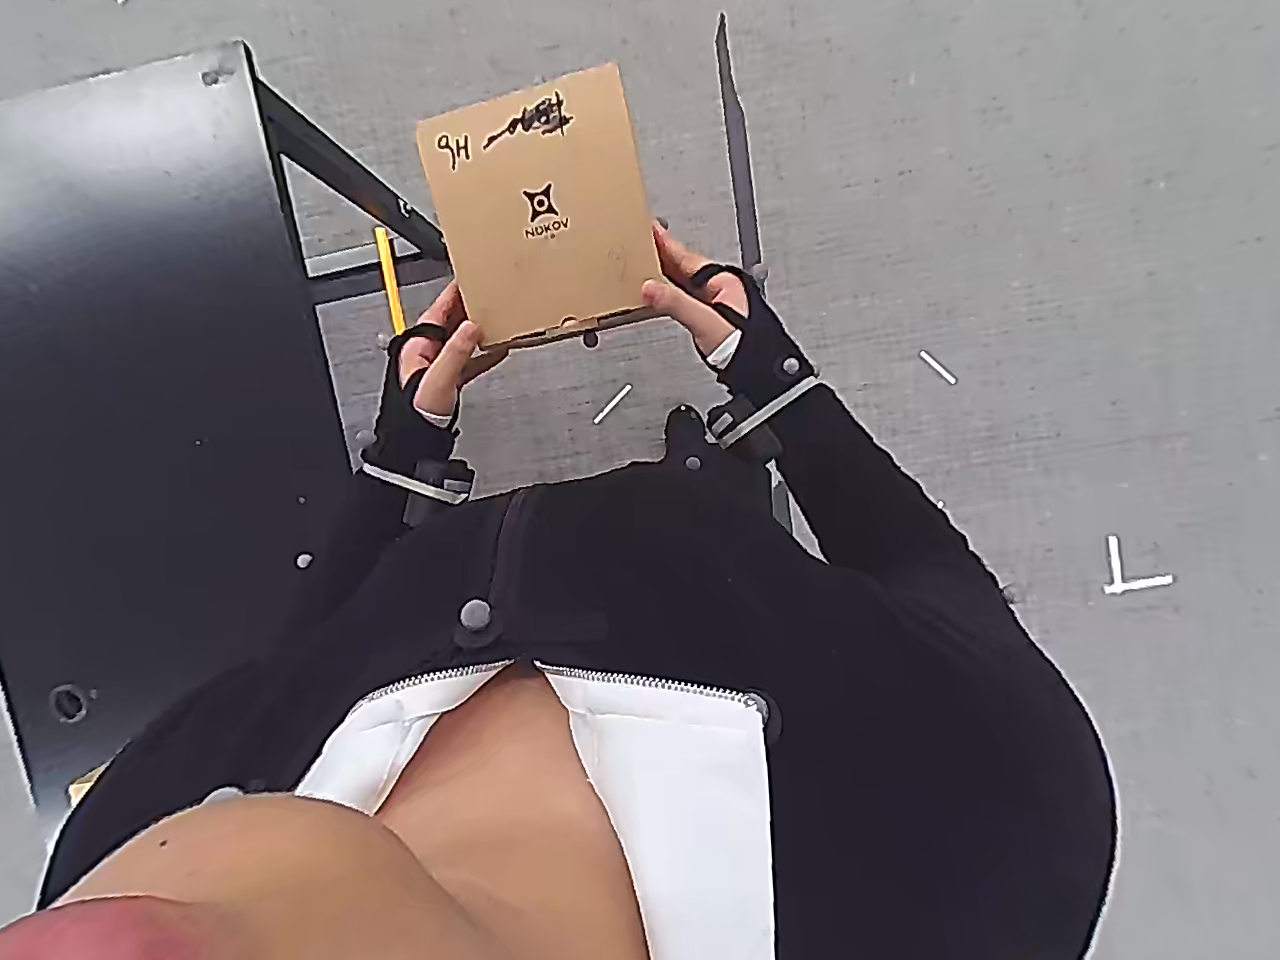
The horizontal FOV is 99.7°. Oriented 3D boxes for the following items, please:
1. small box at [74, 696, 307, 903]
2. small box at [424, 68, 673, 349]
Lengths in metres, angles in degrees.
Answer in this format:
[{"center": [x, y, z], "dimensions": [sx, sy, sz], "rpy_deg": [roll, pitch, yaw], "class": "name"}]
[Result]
[{"center": [-0.596, 0.427, 0.743], "dimensions": [0.168, 0.176, 0.179], "rpy_deg": [-9, 95, 3], "class": "small box"}, {"center": [-0.065, -0.231, 0.507], "dimensions": [0.168, 0.176, 0.179], "rpy_deg": [-12, 105, 7], "class": "small box"}]
